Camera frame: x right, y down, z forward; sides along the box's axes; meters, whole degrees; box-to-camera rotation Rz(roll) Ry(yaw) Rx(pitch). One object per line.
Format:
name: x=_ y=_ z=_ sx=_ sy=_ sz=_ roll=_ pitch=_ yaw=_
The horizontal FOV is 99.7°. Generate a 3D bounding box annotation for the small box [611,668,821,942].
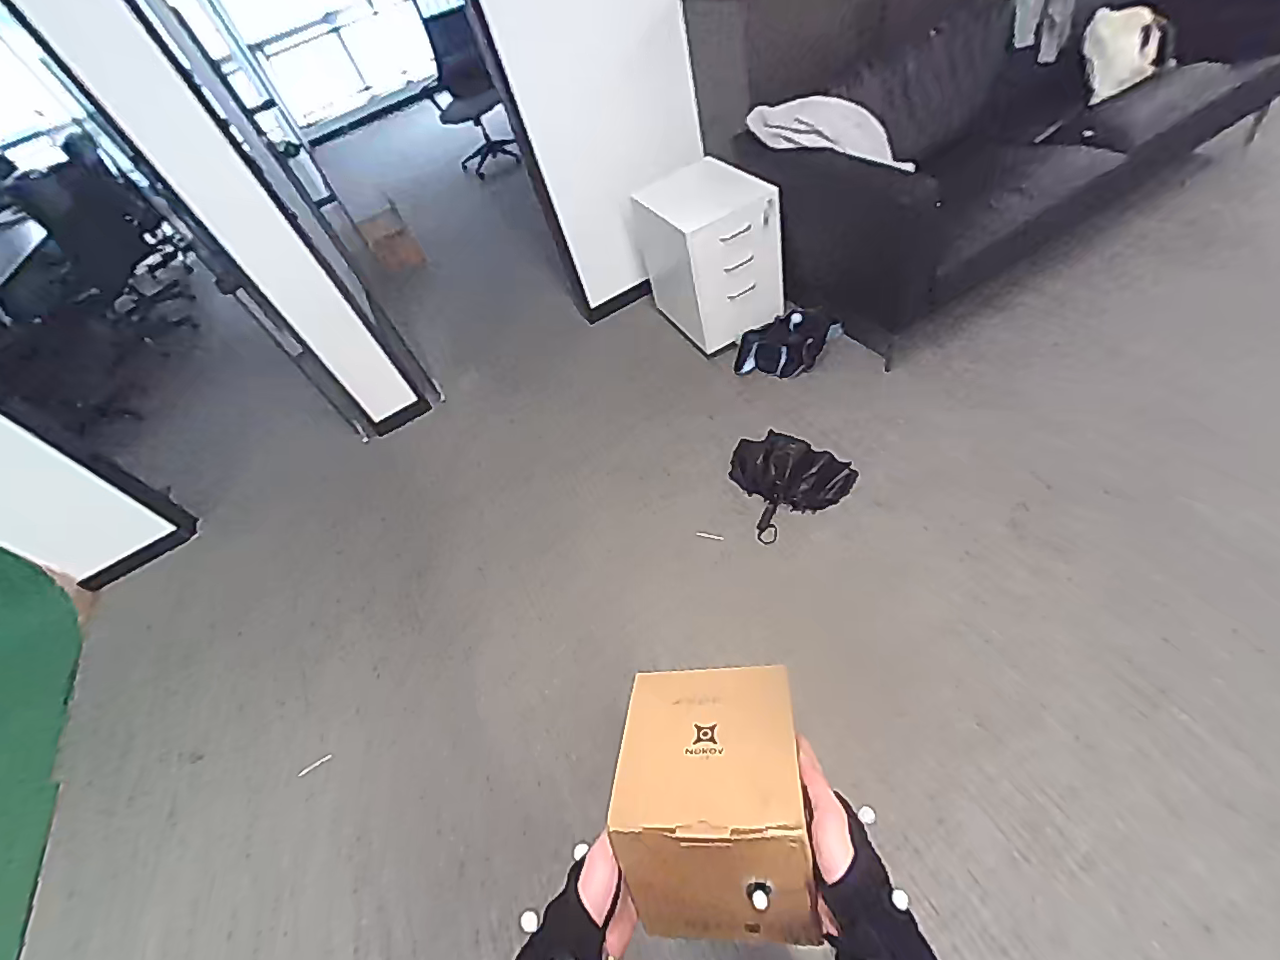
small box: x=0.083 y=0.316 z=0.542 sx=0.168 sy=0.176 sz=0.179 roll=-6 pitch=23 yaw=13
